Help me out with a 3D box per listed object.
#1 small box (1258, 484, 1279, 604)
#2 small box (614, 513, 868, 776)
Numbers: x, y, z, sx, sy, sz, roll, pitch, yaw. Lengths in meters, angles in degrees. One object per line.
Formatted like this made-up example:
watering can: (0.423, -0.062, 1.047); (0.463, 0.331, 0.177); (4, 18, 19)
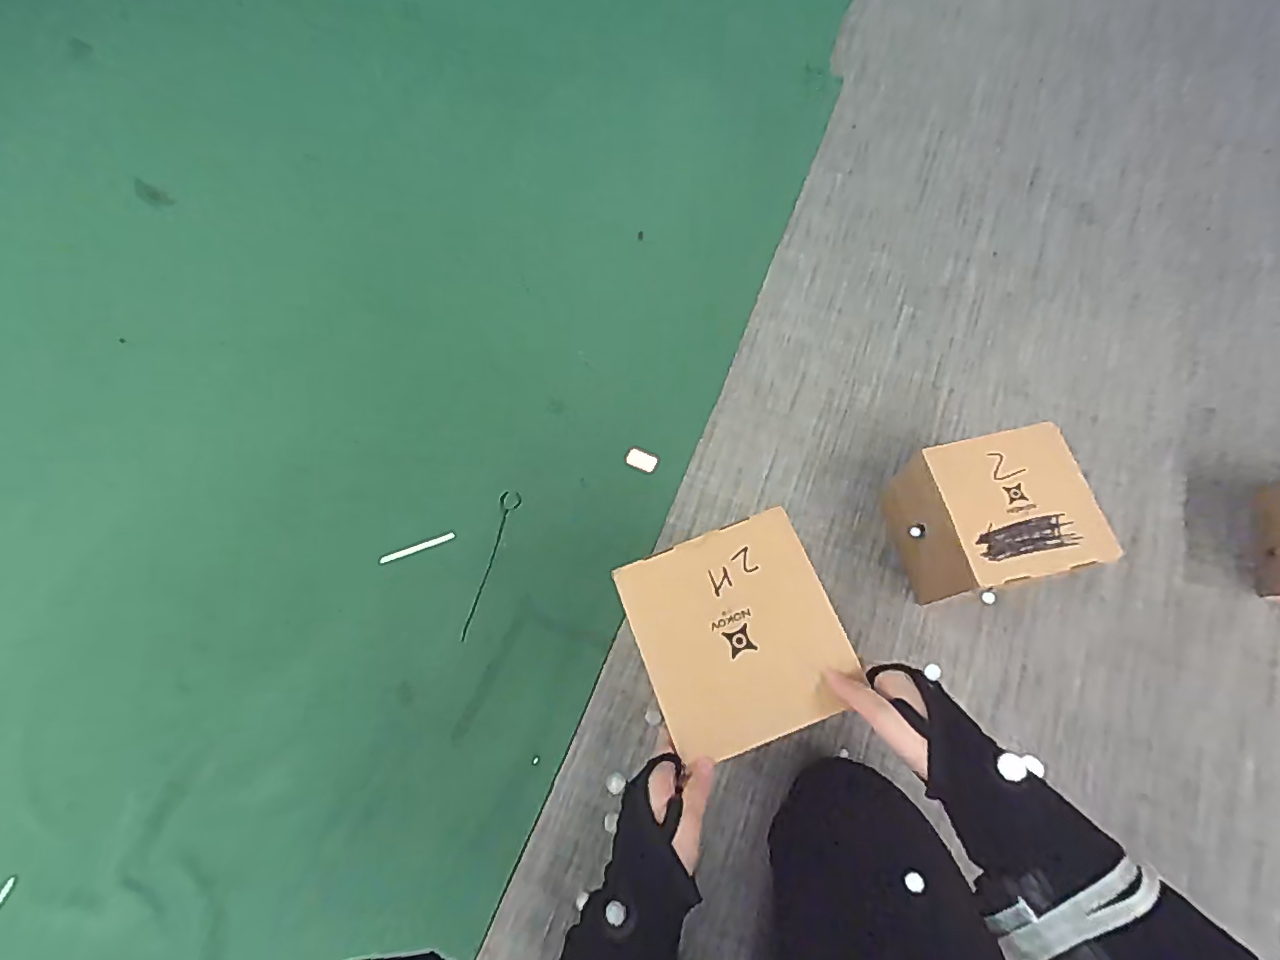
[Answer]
small box: (0.918, 0.078, 0.655); (0.179, 0.176, 0.168); (12, 72, 11)
small box: (0.089, 0.157, 0.534); (0.168, 0.176, 0.179); (-21, 70, -3)
